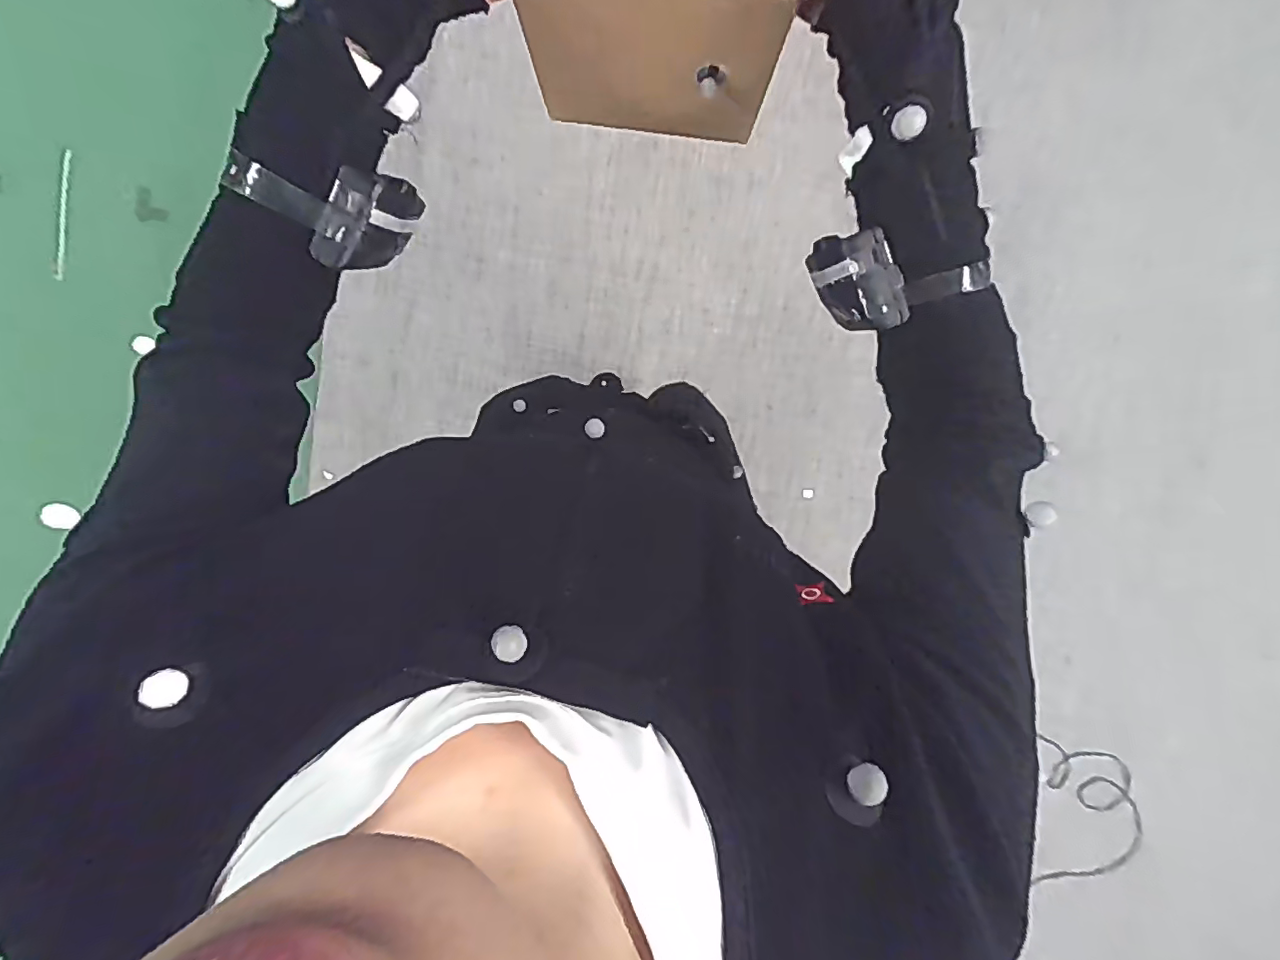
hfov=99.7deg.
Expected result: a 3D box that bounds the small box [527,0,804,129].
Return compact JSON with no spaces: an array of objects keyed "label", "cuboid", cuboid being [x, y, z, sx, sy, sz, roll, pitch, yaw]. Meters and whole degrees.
[{"label":"small box","cuboid":[0.022,-0.380,0.380,0.179,0.176,0.168,6,95,1]}]
